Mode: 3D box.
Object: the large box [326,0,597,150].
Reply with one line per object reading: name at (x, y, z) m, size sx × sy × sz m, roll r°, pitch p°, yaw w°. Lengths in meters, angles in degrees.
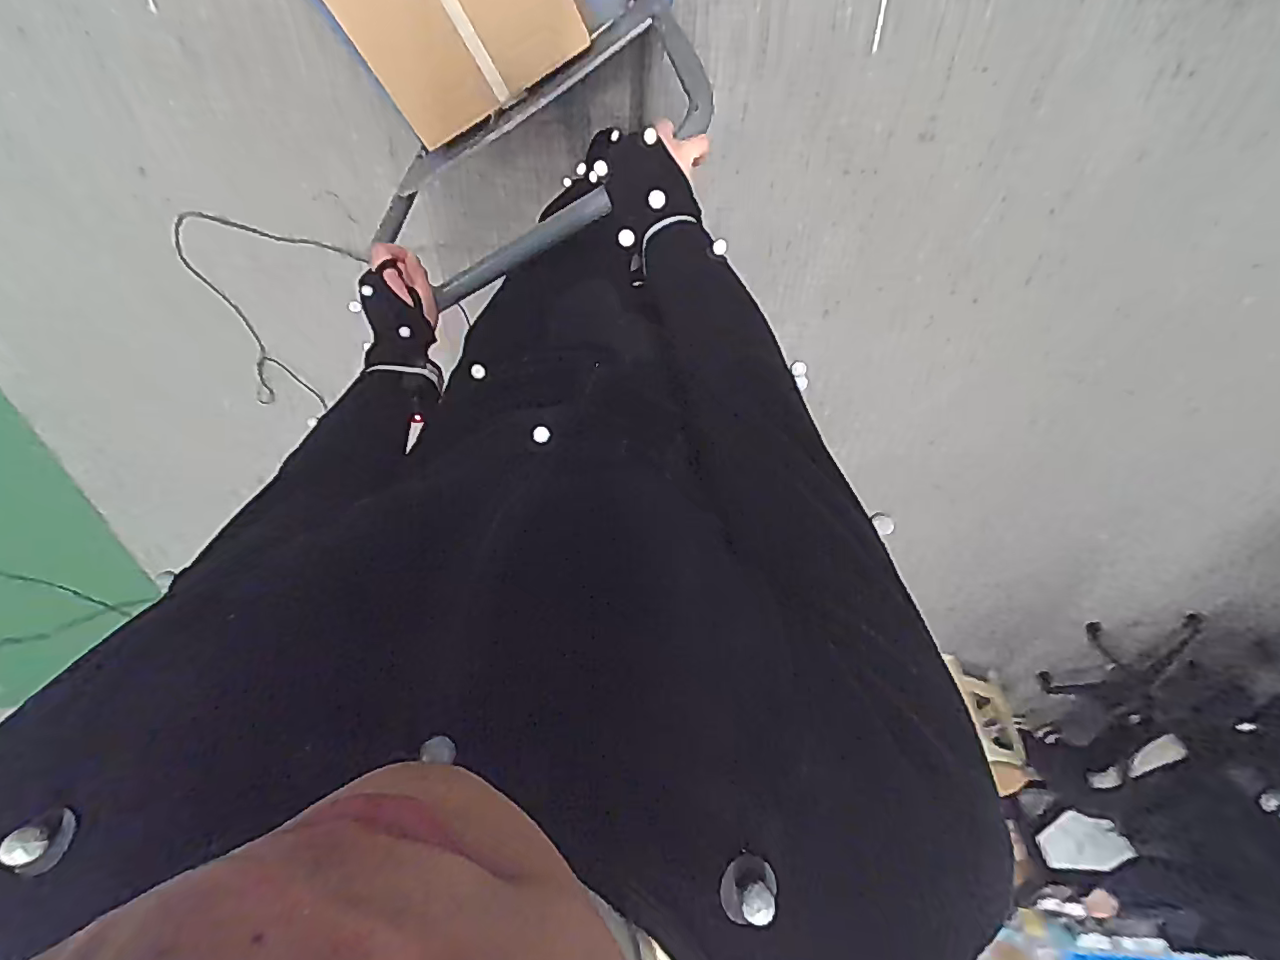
large box at (-0.299, -0.817, 0.820) m, size 0.320 × 0.320 × 0.408 m, roll -22°, pitch 133°, yaw 17°
